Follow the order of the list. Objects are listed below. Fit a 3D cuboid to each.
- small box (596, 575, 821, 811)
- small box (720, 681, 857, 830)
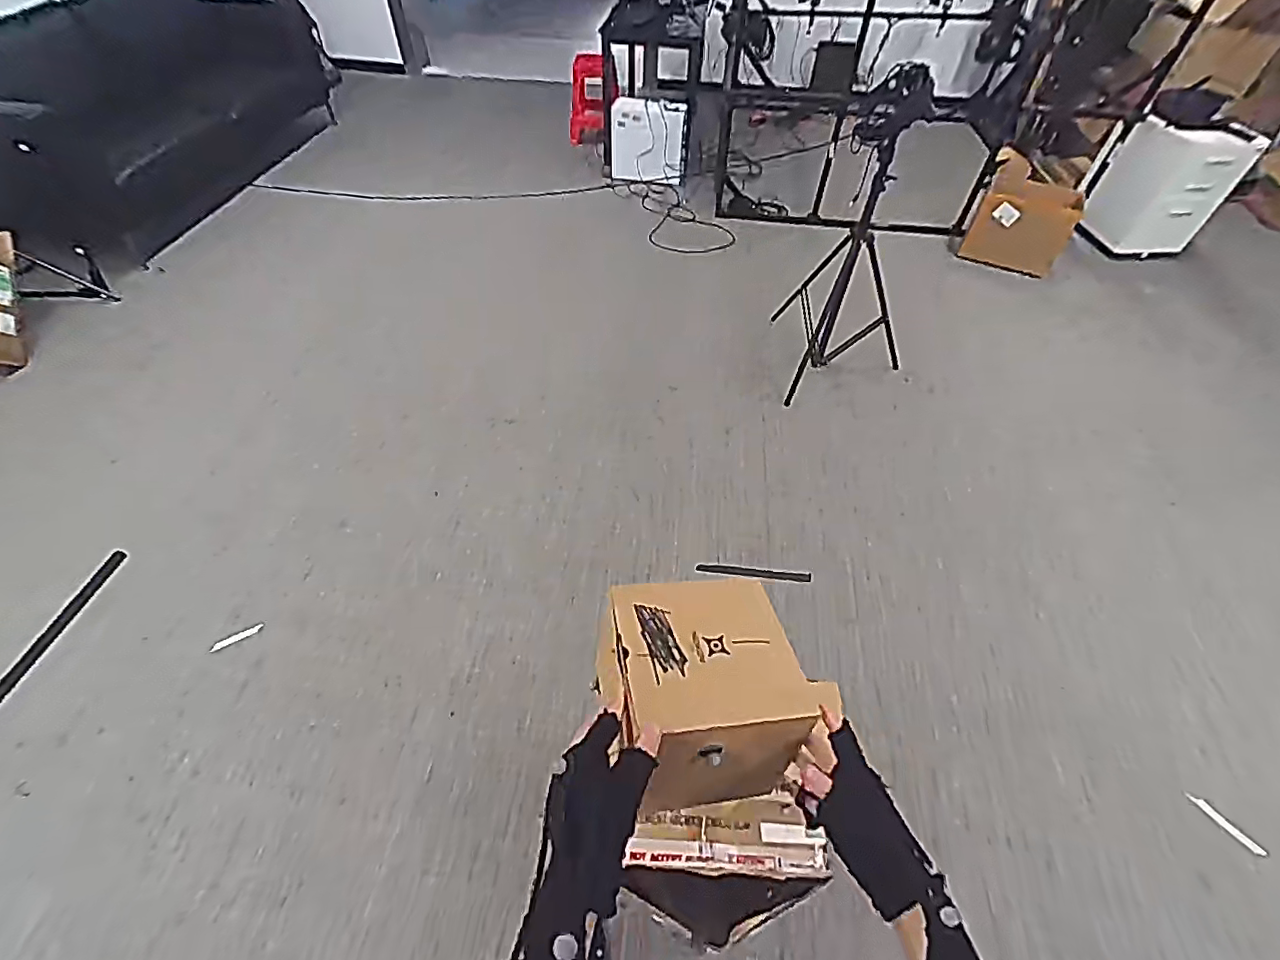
[{"bbox_3d":[0.052,0.220,0.567,0.179,0.176,0.168,1,39,-15],"label":"small box"},{"bbox_3d":[0.219,0.432,0.859,0.168,0.176,0.179,4,48,0],"label":"small box"}]
